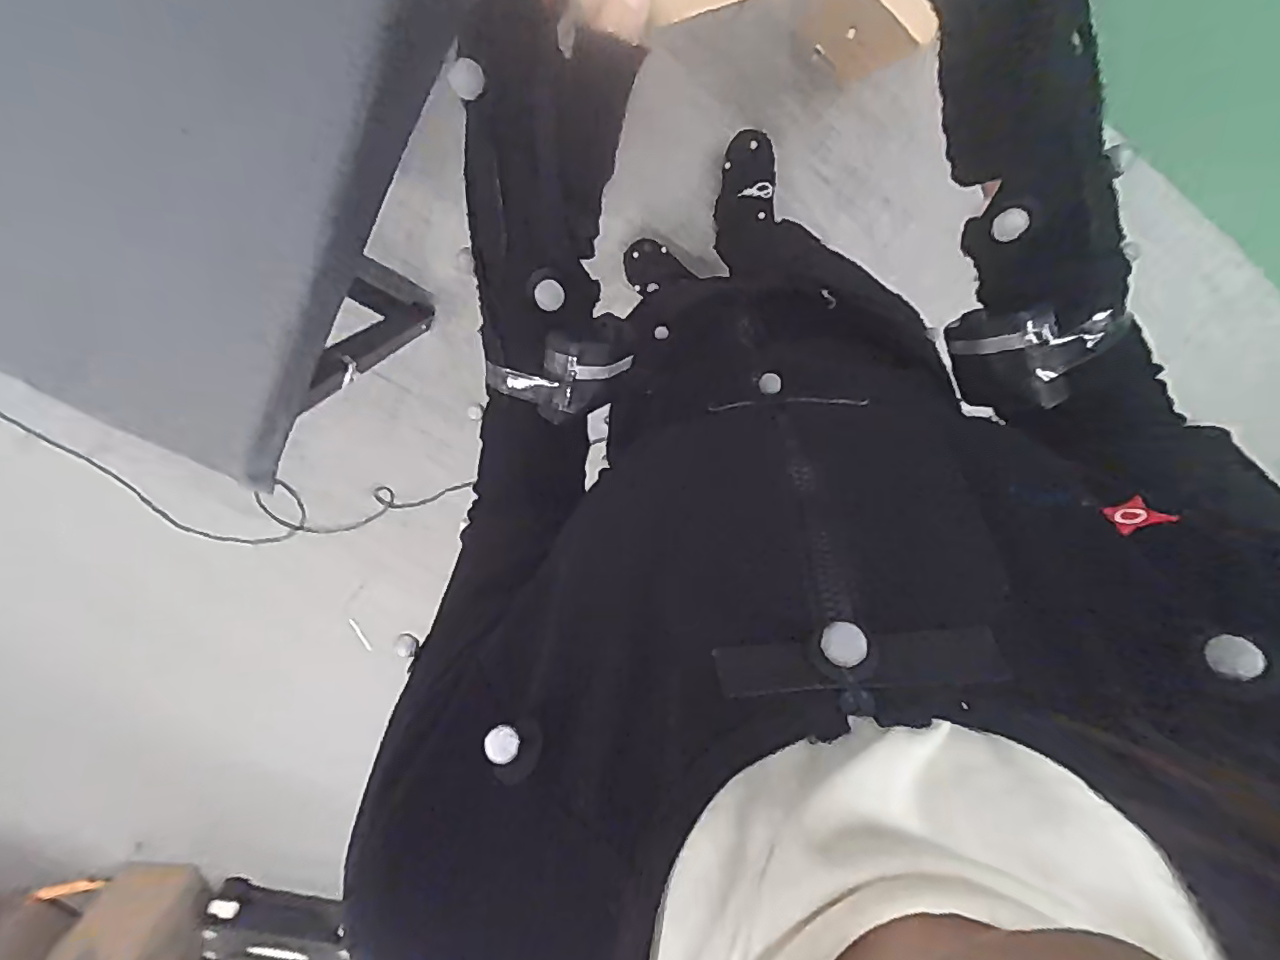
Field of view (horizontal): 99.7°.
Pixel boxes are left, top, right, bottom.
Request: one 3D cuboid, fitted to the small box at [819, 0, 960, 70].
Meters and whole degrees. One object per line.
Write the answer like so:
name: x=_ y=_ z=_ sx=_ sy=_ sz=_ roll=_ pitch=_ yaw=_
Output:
small box: x=0.408 y=-0.788 z=0.835 sx=0.168 sy=0.176 sz=0.179 roll=34 pitch=113 yaw=-15
